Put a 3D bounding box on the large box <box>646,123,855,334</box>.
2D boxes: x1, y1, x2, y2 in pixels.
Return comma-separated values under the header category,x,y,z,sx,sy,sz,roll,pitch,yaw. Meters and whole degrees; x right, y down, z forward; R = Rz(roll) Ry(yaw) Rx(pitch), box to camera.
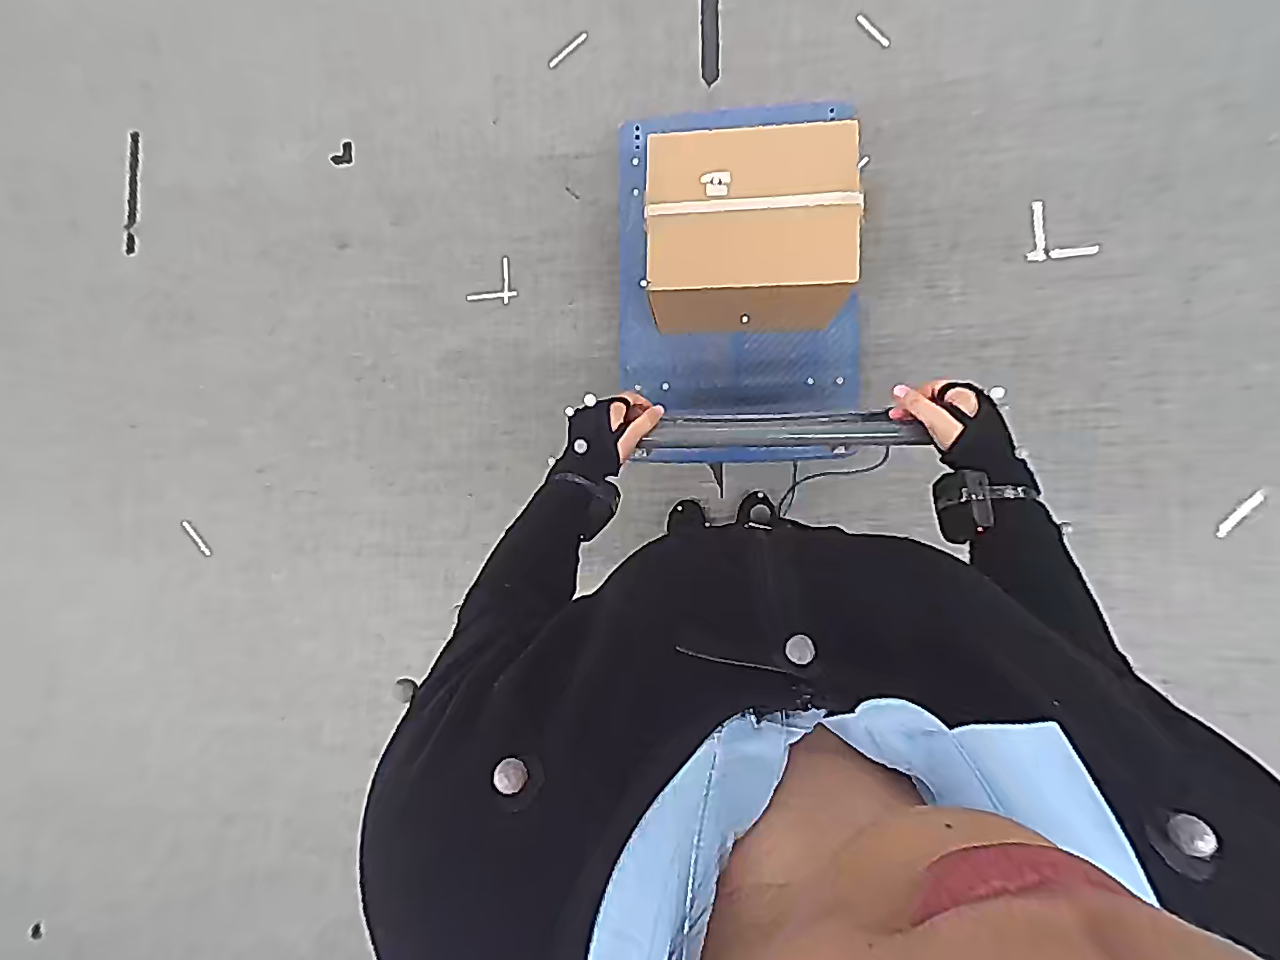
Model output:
category,x,y,z,sx,sy,sz,roll,pitch,yaw
large box,0.233,-0.525,1.203,0.408,0.320,0.320,0,88,8
